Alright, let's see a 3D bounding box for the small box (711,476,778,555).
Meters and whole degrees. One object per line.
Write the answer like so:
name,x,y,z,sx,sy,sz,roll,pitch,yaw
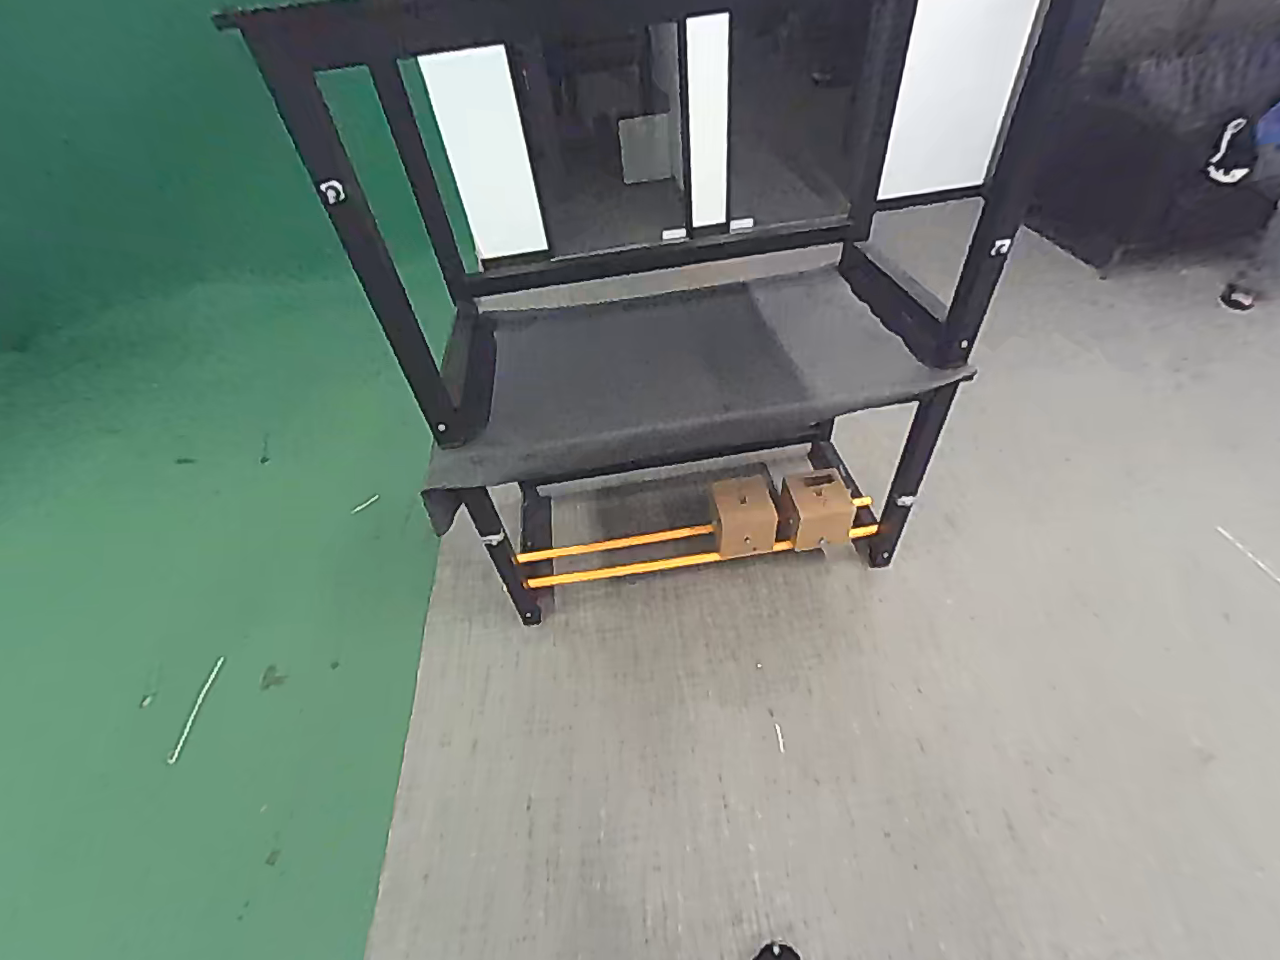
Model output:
small box,0.318,0.117,1.672,0.168,0.176,0.179,-9,46,-2
